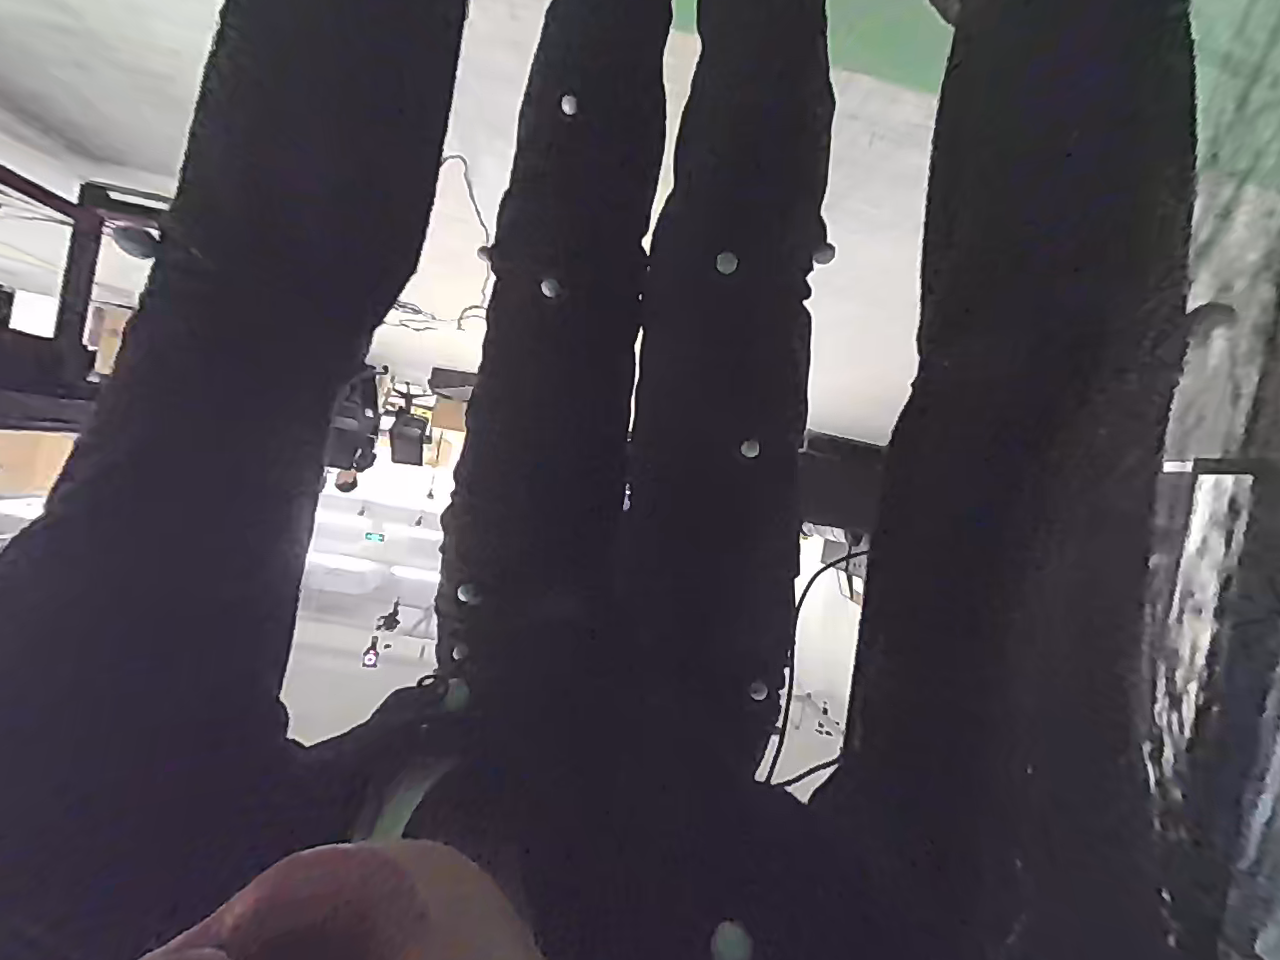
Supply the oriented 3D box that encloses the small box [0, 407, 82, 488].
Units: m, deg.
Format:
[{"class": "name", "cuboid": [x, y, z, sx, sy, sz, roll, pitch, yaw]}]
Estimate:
[{"class": "small box", "cuboid": [-1.486, -0.080, 1.274, 0.179, 0.176, 0.168, 10, -179, -7]}]
